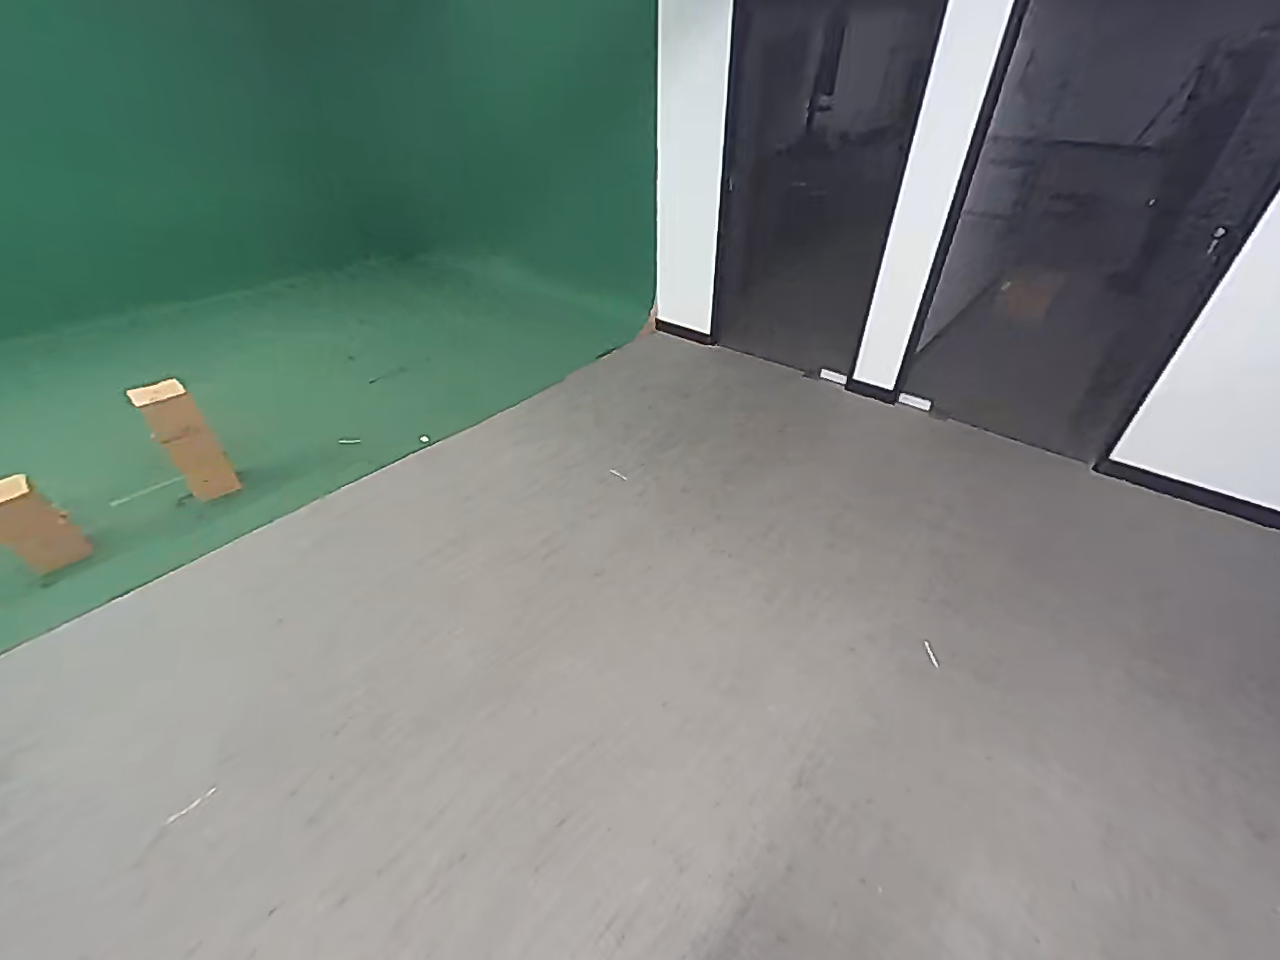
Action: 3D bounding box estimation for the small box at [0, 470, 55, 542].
[{"bbox_3d":[-2.273,0.100,1.938,0.168,0.176,0.179,30,47,31],"label":"small box"}]

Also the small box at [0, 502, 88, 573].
[{"bbox_3d":[-2.266,0.221,2.046,0.168,0.176,0.179,28,46,30],"label":"small box"}]

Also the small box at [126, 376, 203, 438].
[{"bbox_3d":[-1.908,-0.292,2.172,0.179,0.176,0.168,30,46,34],"label":"small box"}]

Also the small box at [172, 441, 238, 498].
[{"bbox_3d":[-1.913,-0.041,2.384,0.168,0.176,0.179,-28,46,-32],"label":"small box"}]
